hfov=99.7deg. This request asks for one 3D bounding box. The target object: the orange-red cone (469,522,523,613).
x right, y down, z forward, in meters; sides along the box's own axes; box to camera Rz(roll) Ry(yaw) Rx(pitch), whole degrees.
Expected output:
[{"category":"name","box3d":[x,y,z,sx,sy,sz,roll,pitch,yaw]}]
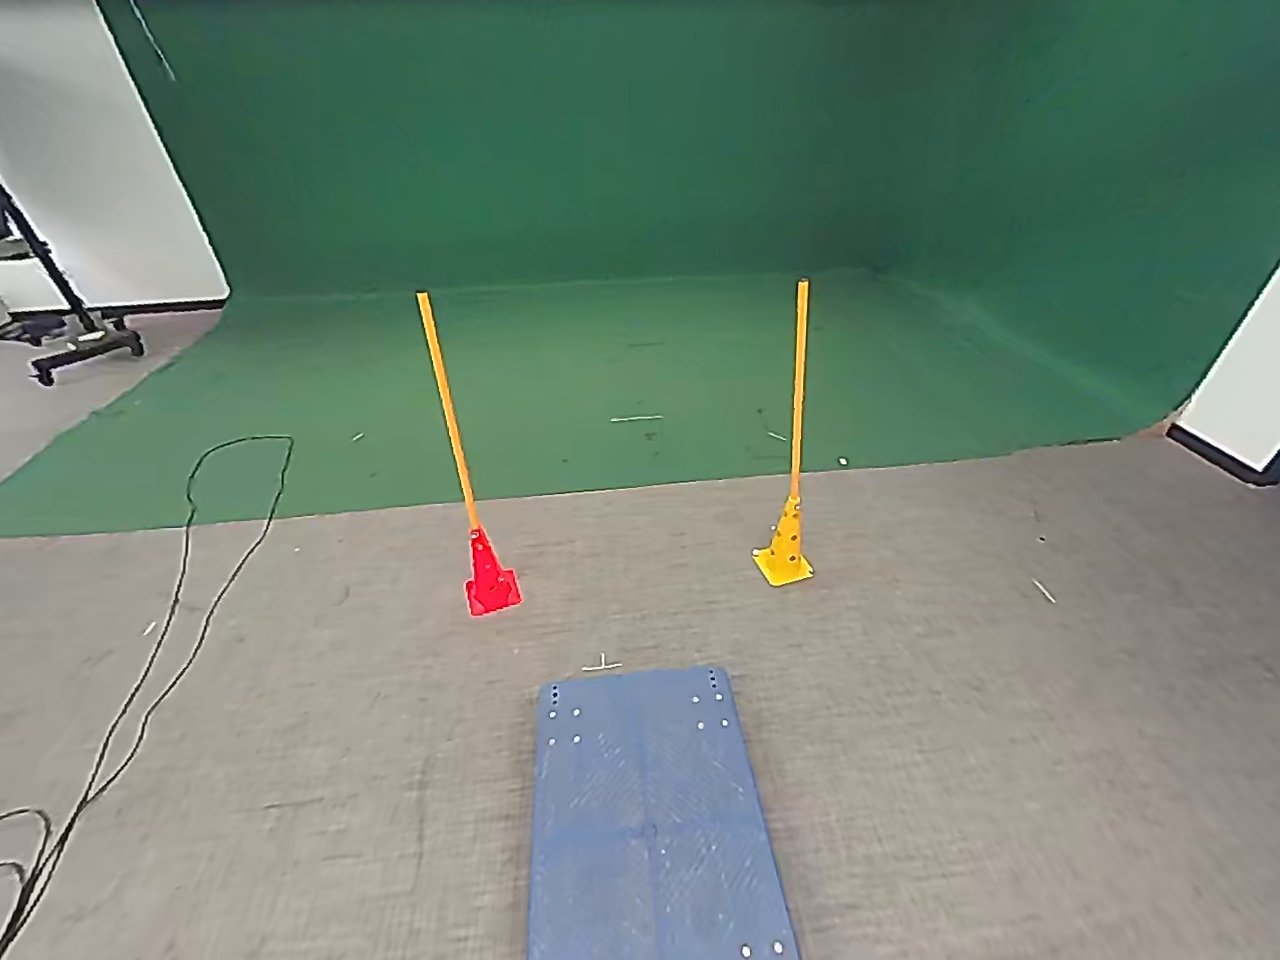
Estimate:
[{"category":"orange-red cone","box3d":[-0.586,0.304,2.058,0.199,0.360,0.198,-15,39,-15]}]
